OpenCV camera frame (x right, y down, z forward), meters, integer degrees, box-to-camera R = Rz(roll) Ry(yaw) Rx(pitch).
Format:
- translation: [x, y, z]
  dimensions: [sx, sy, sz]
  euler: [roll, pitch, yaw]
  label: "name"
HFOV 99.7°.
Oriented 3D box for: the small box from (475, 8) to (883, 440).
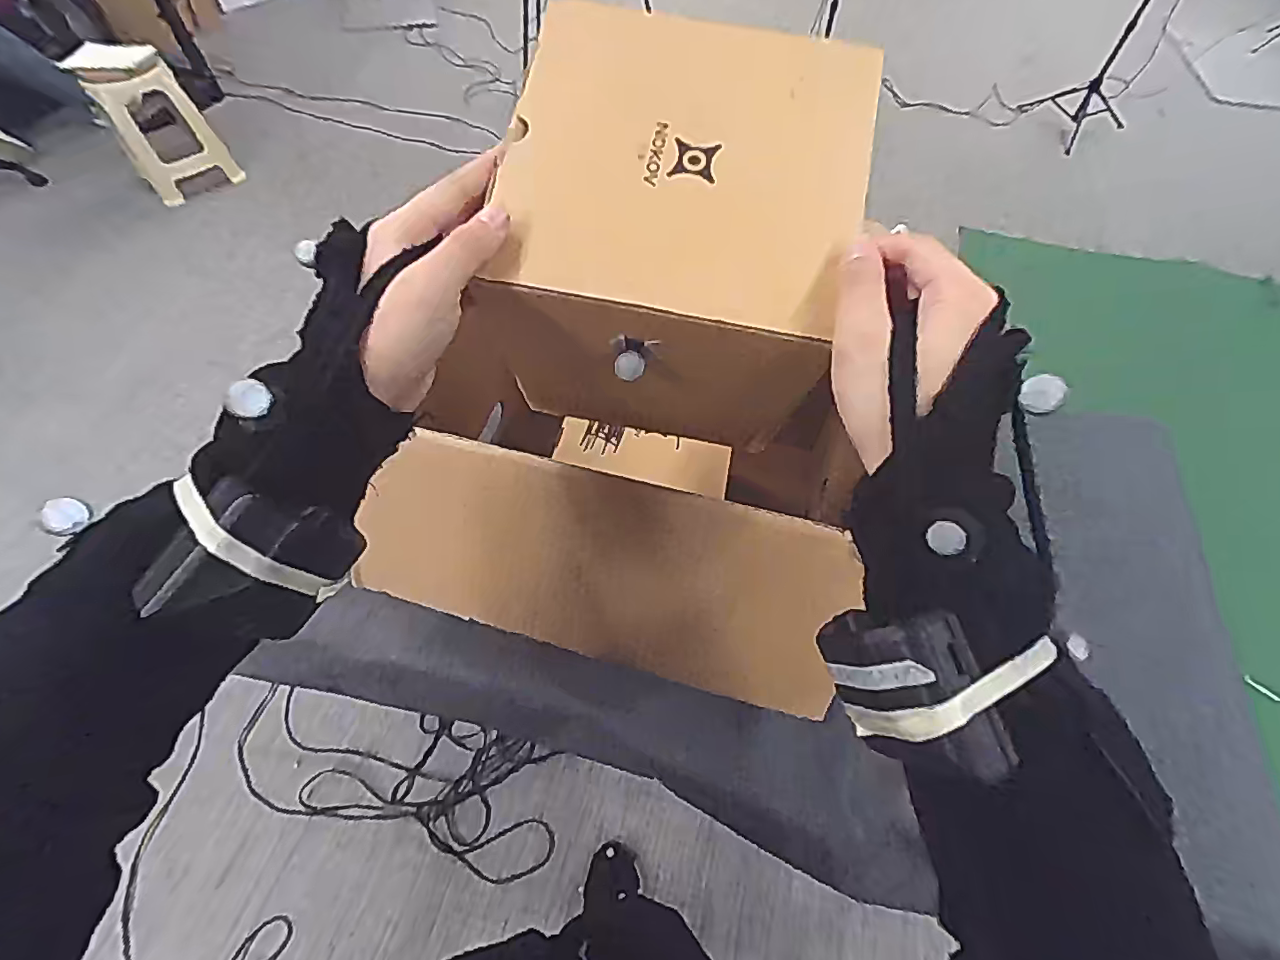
- translation: [0.024, -0.135, 0.341]
  dimensions: [0.179, 0.176, 0.168]
  euler: [11, 76, 3]
  label: "small box"
